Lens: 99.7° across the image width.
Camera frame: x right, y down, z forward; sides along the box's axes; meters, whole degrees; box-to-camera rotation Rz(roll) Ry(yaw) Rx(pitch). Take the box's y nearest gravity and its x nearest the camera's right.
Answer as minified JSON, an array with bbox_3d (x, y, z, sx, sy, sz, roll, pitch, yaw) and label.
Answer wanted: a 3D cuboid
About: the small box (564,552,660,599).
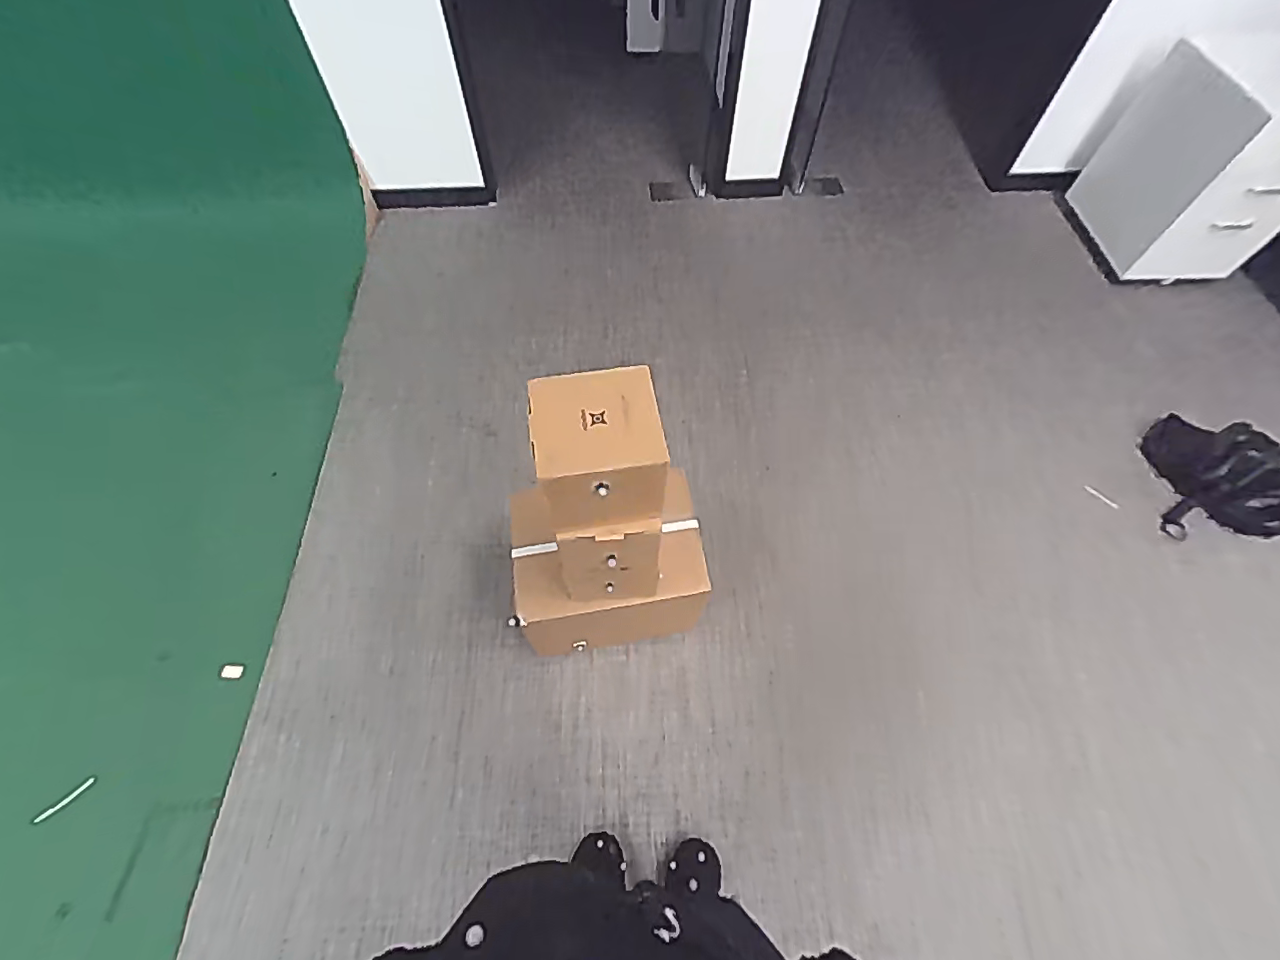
[{"bbox_3d":[-0.057,0.134,1.086,0.179,0.176,0.168,-4,60,-2],"label":"small box"}]

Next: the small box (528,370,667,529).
[{"bbox_3d":[-0.062,-0.039,0.810,0.179,0.176,0.168,-8,62,-6],"label":"small box"}]

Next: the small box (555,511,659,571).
[{"bbox_3d":[-0.056,0.053,0.945,0.168,0.176,0.179,-4,61,-3],"label":"small box"}]
